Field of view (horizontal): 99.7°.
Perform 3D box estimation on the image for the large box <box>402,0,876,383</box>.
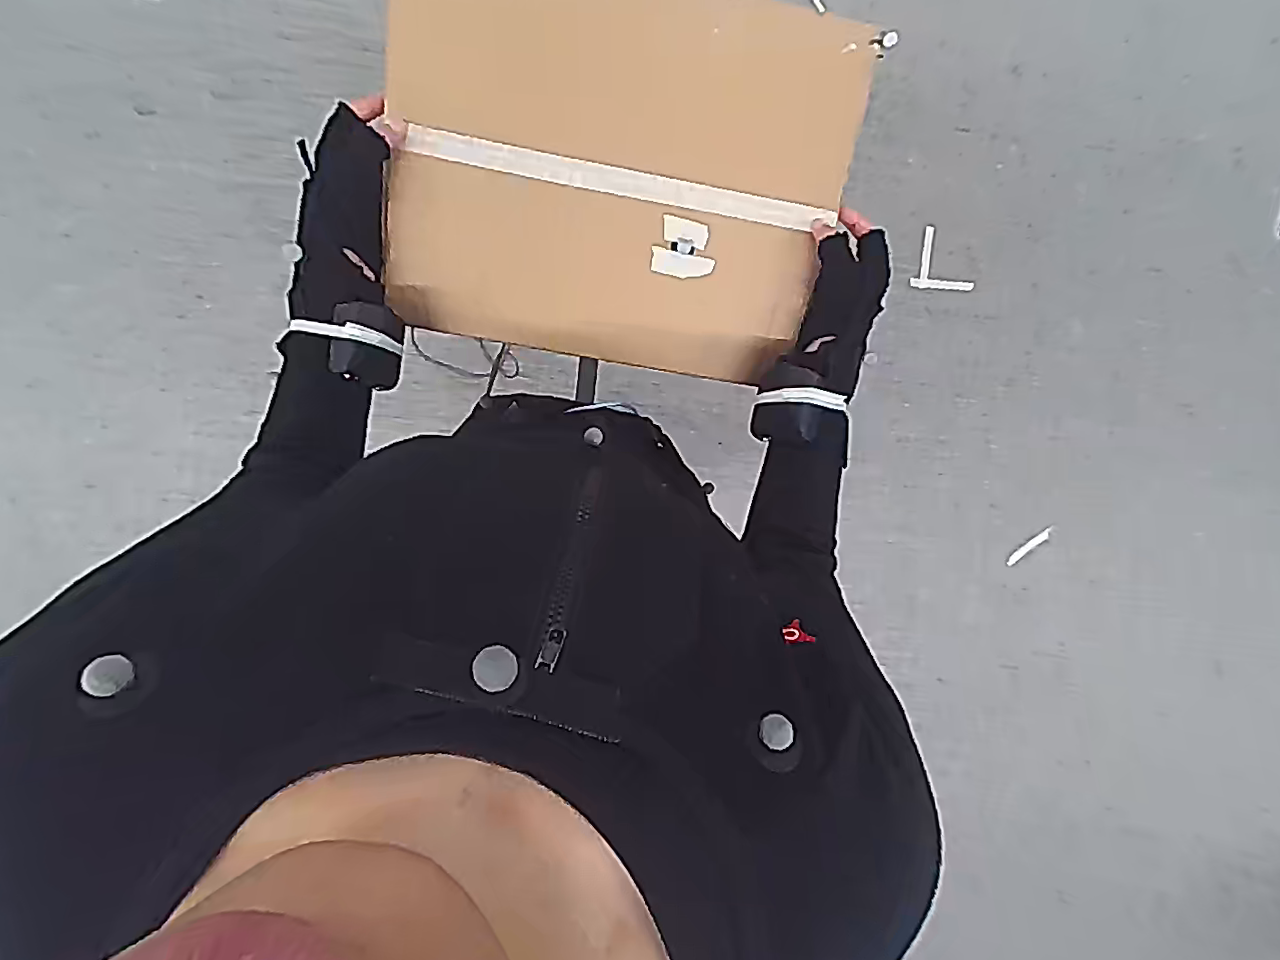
[{"bbox_3d":[-0.022,-0.317,0.638,0.408,0.320,0.320,9,108,-7],"label":"large box"}]
